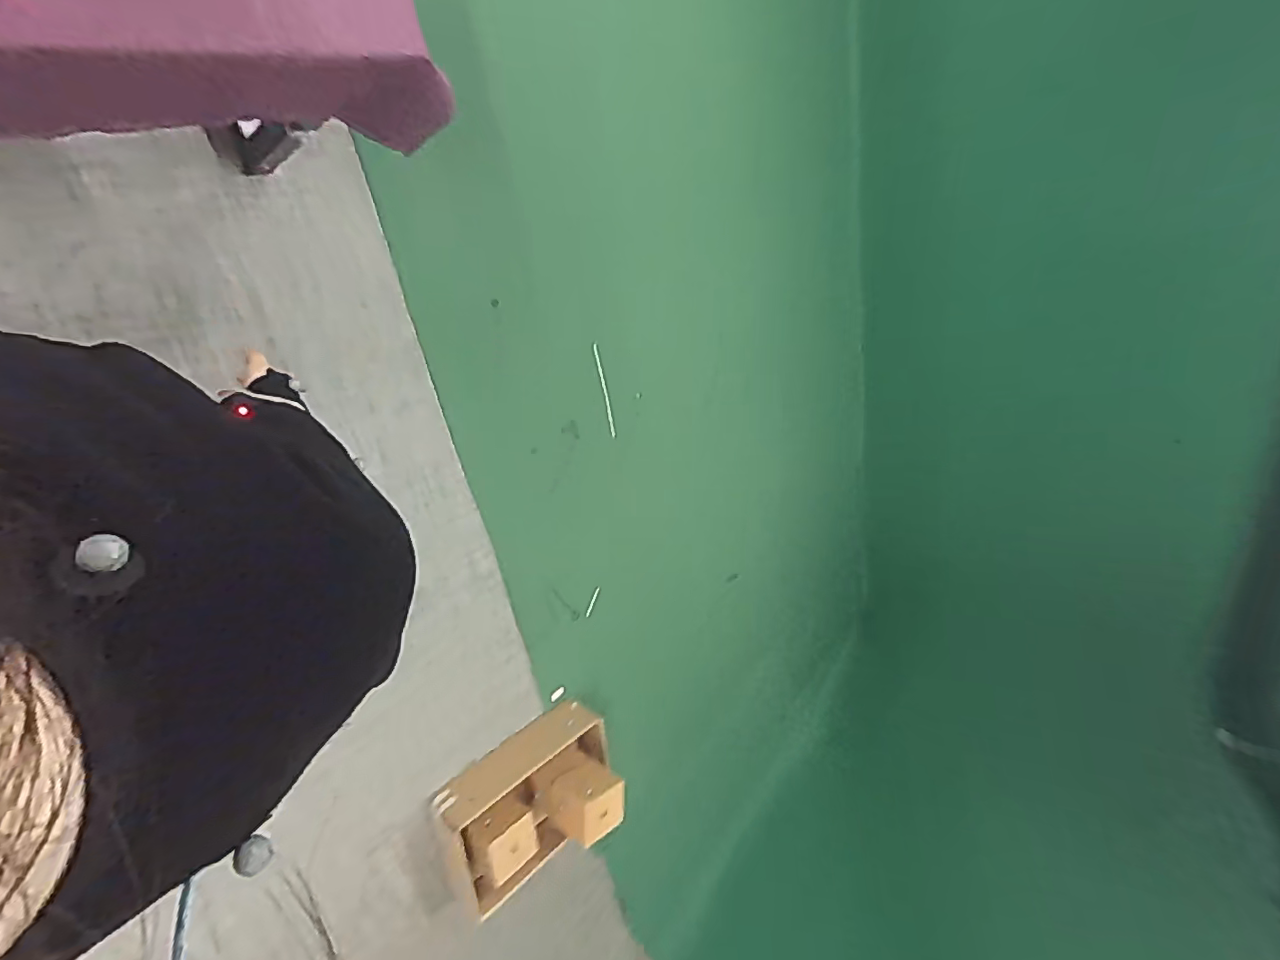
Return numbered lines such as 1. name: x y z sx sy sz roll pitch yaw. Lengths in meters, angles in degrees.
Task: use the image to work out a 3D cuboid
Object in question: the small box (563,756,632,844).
1. small box: -0.148 1.107 1.888 0.179 0.176 0.168 -8 103 -43
